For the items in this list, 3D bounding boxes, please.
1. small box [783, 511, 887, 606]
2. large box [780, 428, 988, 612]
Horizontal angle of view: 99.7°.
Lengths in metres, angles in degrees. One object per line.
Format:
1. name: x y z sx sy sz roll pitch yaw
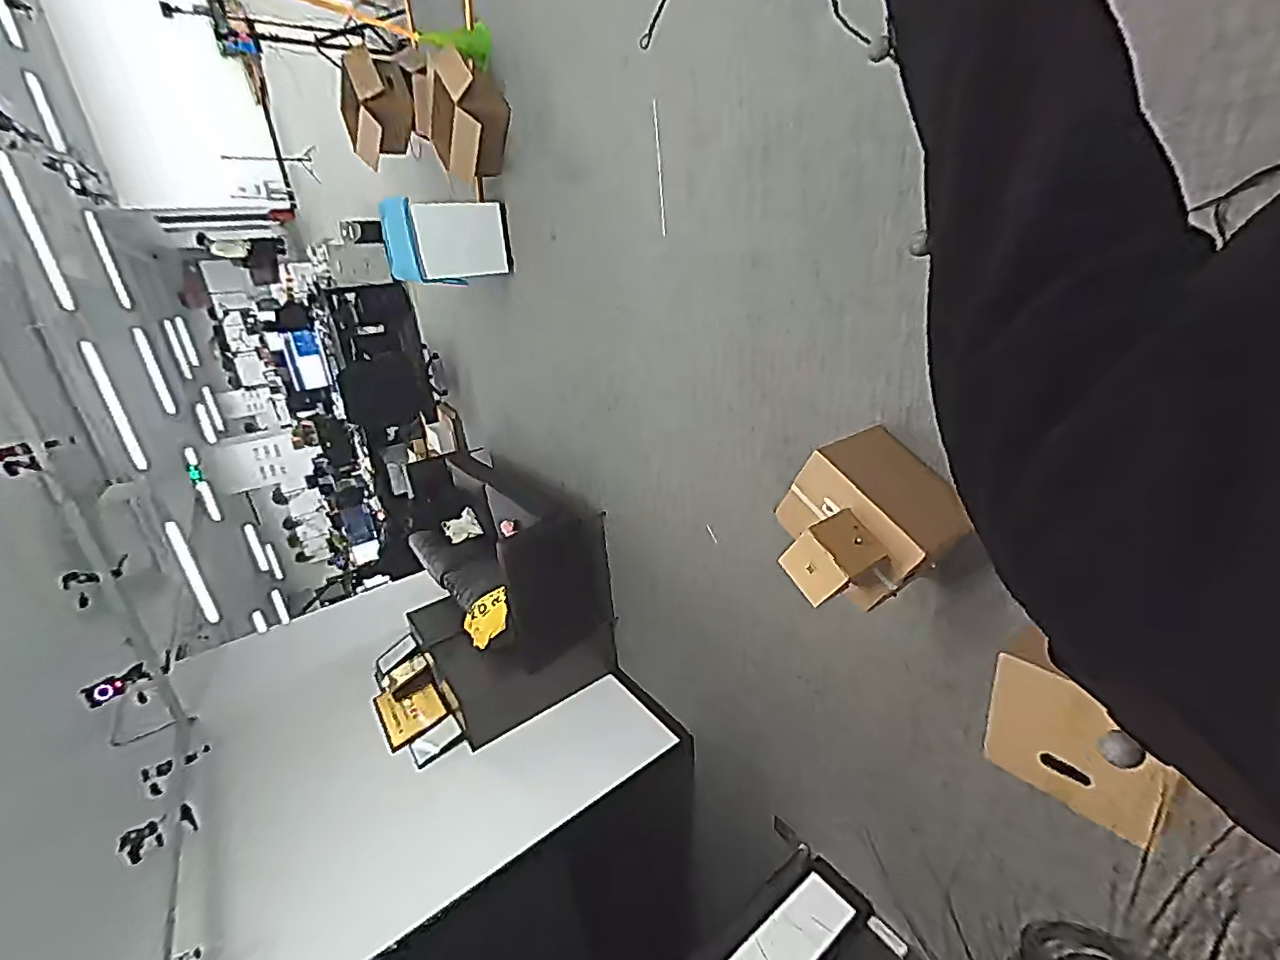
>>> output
1. small box: 0.534 0.213 1.480 0.168 0.176 0.179 55 146 25
2. large box: 0.711 0.109 1.619 0.408 0.320 0.320 53 145 29
